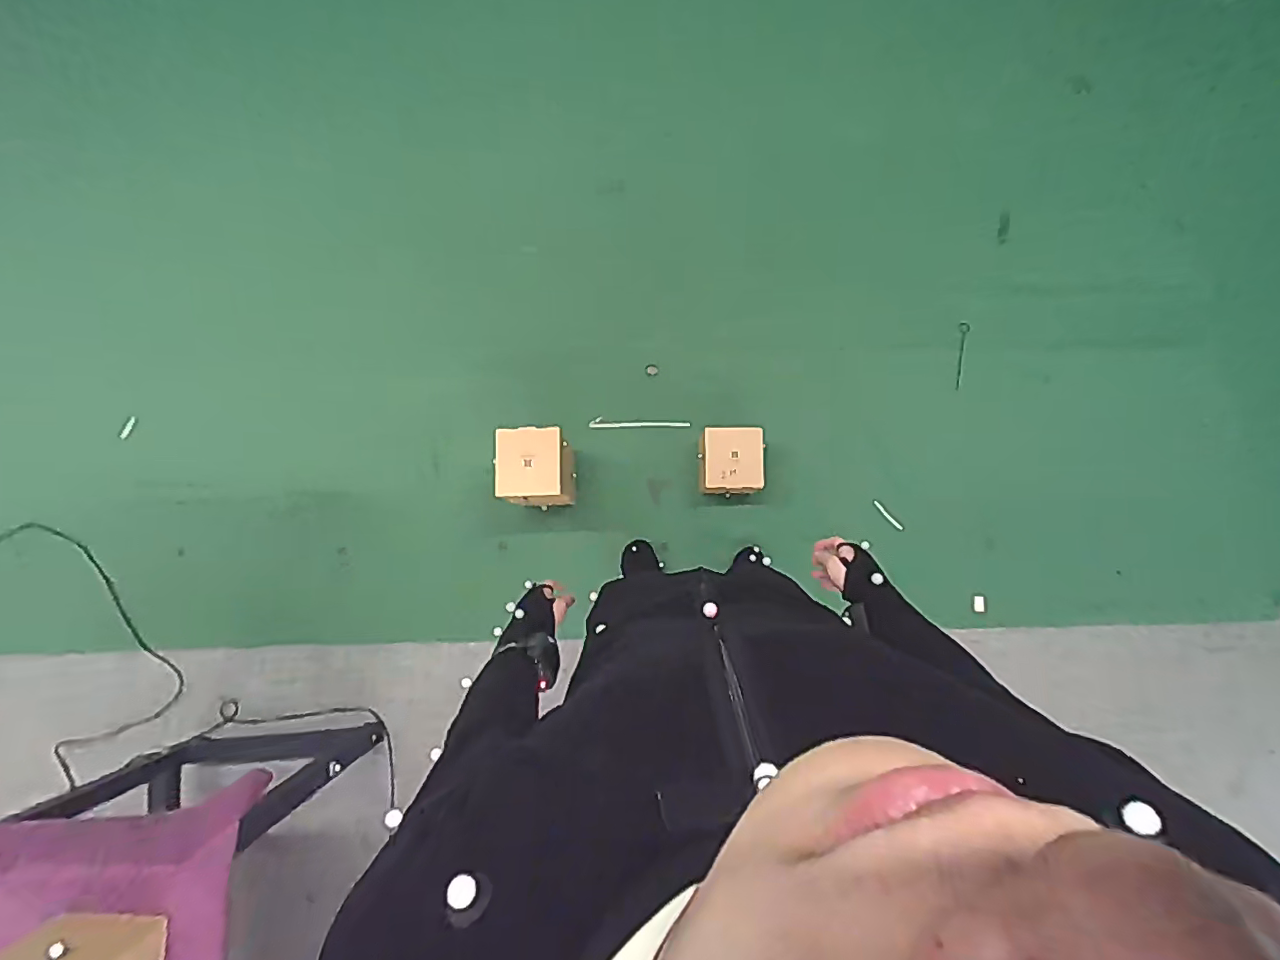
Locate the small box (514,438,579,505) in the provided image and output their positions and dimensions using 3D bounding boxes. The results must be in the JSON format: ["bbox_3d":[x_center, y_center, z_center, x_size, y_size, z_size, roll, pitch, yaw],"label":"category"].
[{"bbox_3d":[-0.273,-0.021,1.595,0.168,0.176,0.179,-2,84,1],"label":"small box"}]

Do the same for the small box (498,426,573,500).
[{"bbox_3d":[-0.272,-0.040,1.434,0.168,0.176,0.179,-2,82,1],"label":"small box"}]

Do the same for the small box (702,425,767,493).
[{"bbox_3d":[0.275,-0.059,1.595,0.168,0.176,0.179,0,84,0],"label":"small box"}]
